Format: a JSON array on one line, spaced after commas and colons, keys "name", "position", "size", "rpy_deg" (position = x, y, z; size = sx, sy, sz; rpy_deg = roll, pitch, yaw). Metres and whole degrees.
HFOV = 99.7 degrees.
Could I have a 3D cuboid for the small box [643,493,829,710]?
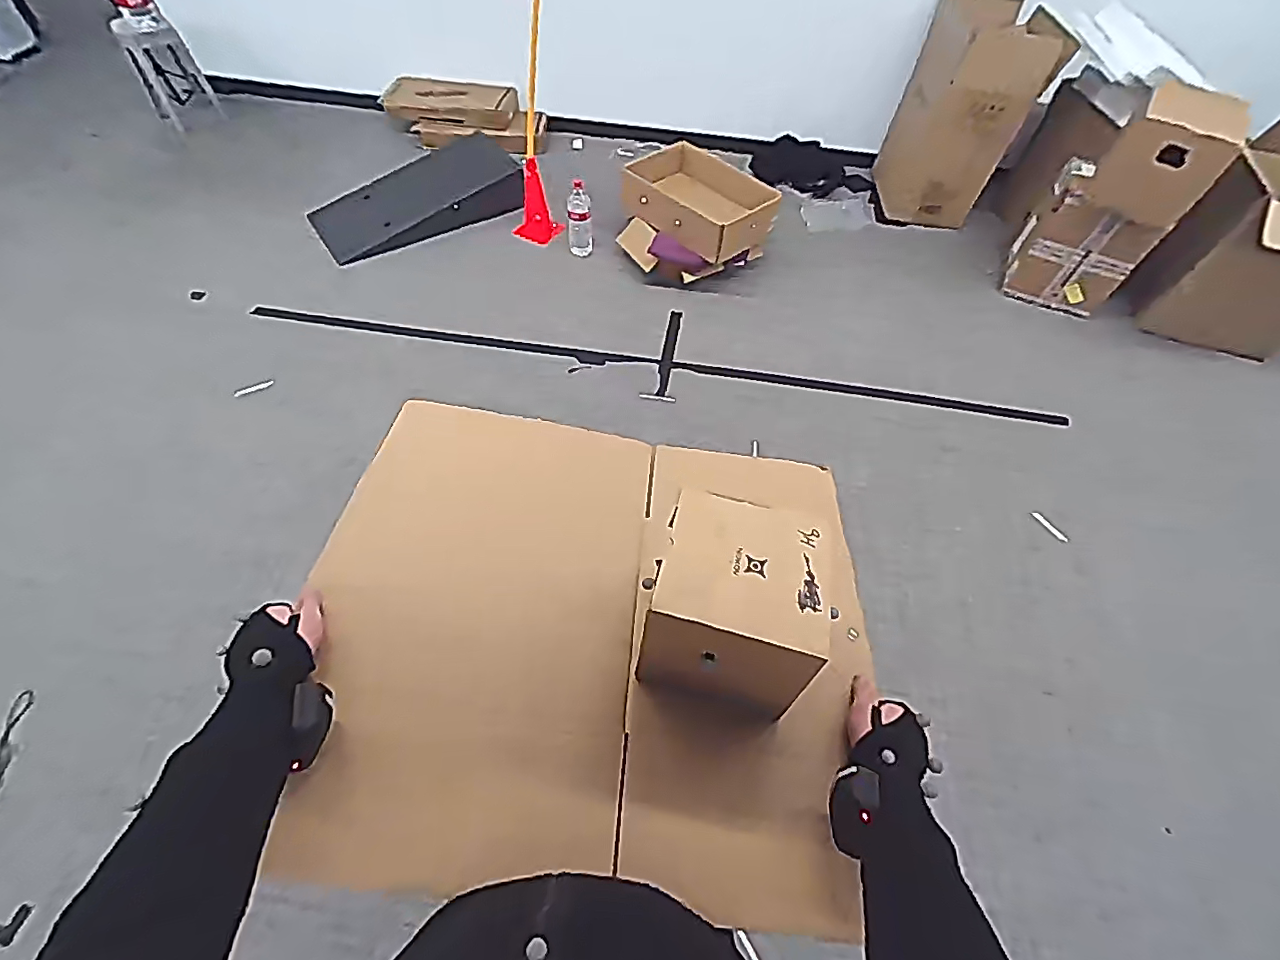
[{"name": "small box", "position": [0.106, 0.144, 0.628], "size": [0.179, 0.176, 0.168], "rpy_deg": [13, 49, 7]}]
